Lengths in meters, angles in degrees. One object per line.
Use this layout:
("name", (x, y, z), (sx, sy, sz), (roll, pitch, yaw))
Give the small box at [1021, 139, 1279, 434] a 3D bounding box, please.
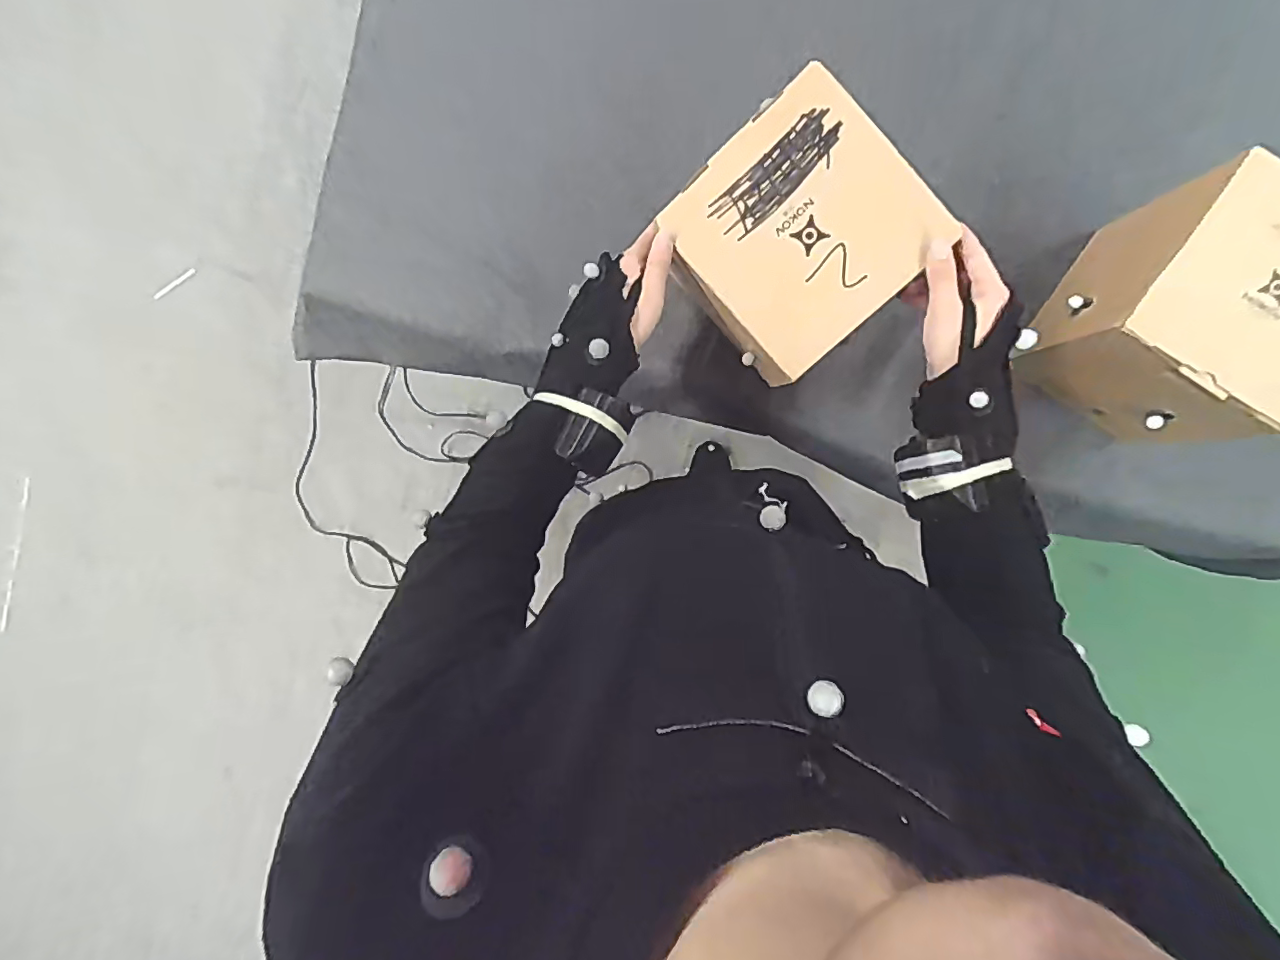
("small box", (0.511, -0.157, 0.508), (0.168, 0.176, 0.179), (33, 93, 2))
